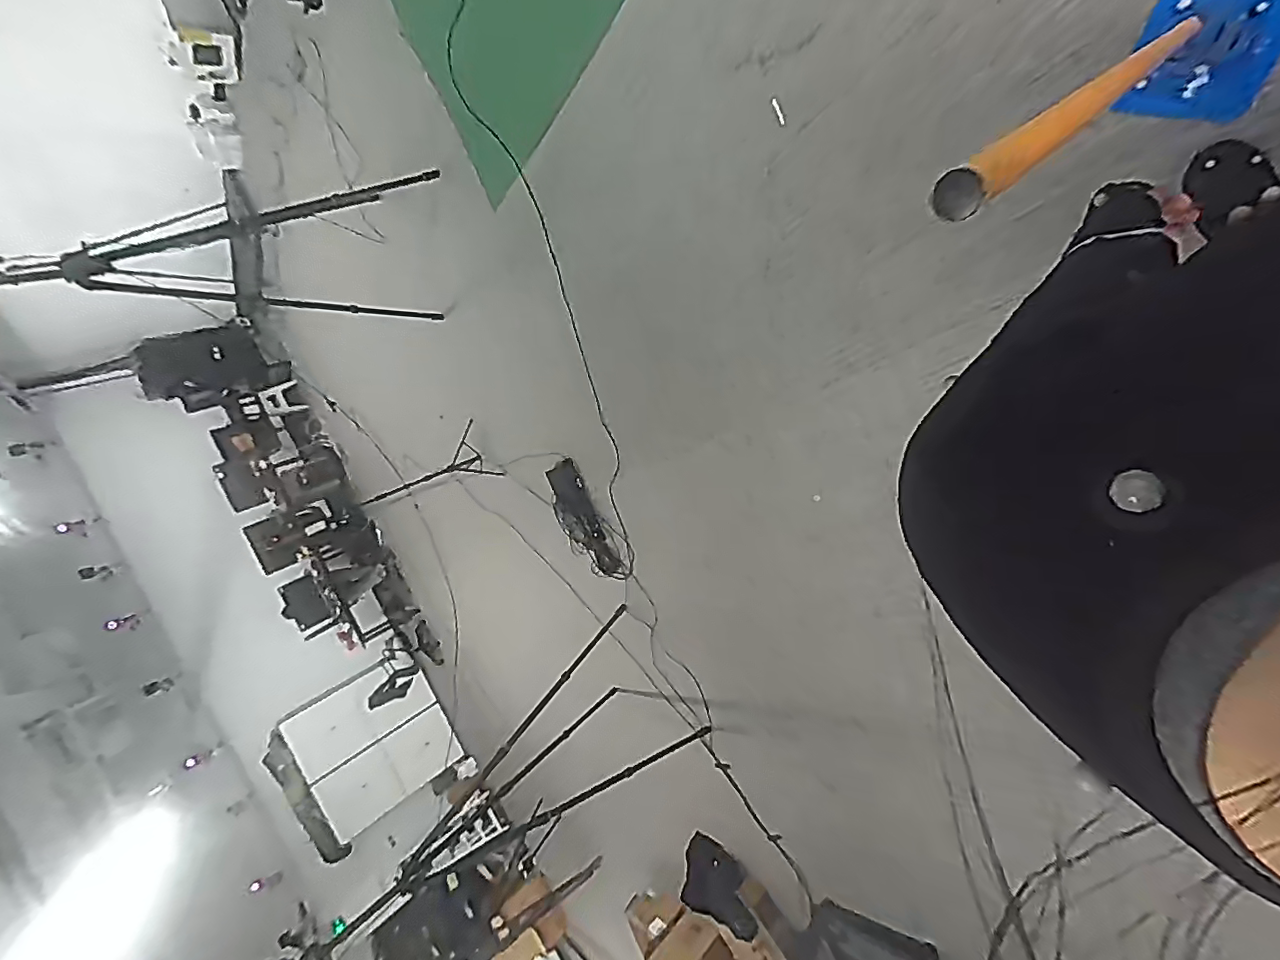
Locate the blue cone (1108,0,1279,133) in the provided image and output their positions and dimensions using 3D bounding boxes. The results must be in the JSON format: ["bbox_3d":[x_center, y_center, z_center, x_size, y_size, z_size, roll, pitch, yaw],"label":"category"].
[{"bbox_3d":[0.833,-0.640,0.823,0.192,0.380,0.193,32,135,32],"label":"blue cone"}]
